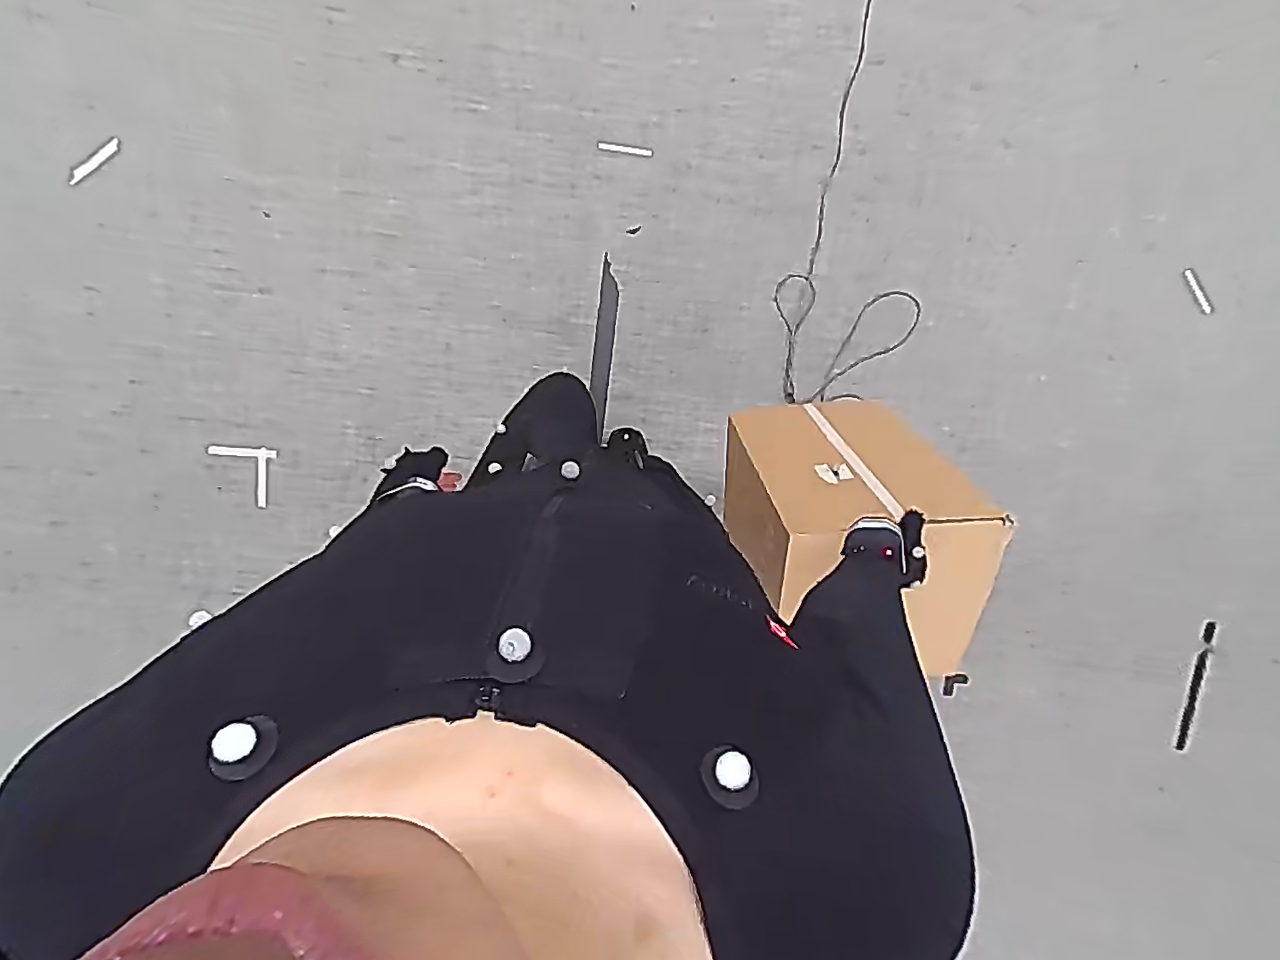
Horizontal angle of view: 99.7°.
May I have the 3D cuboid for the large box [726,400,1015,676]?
[{"bbox_3d":[0.355,0.084,0.981,0.320,0.408,0.320,-5,123,-2],"label":"large box"}]
